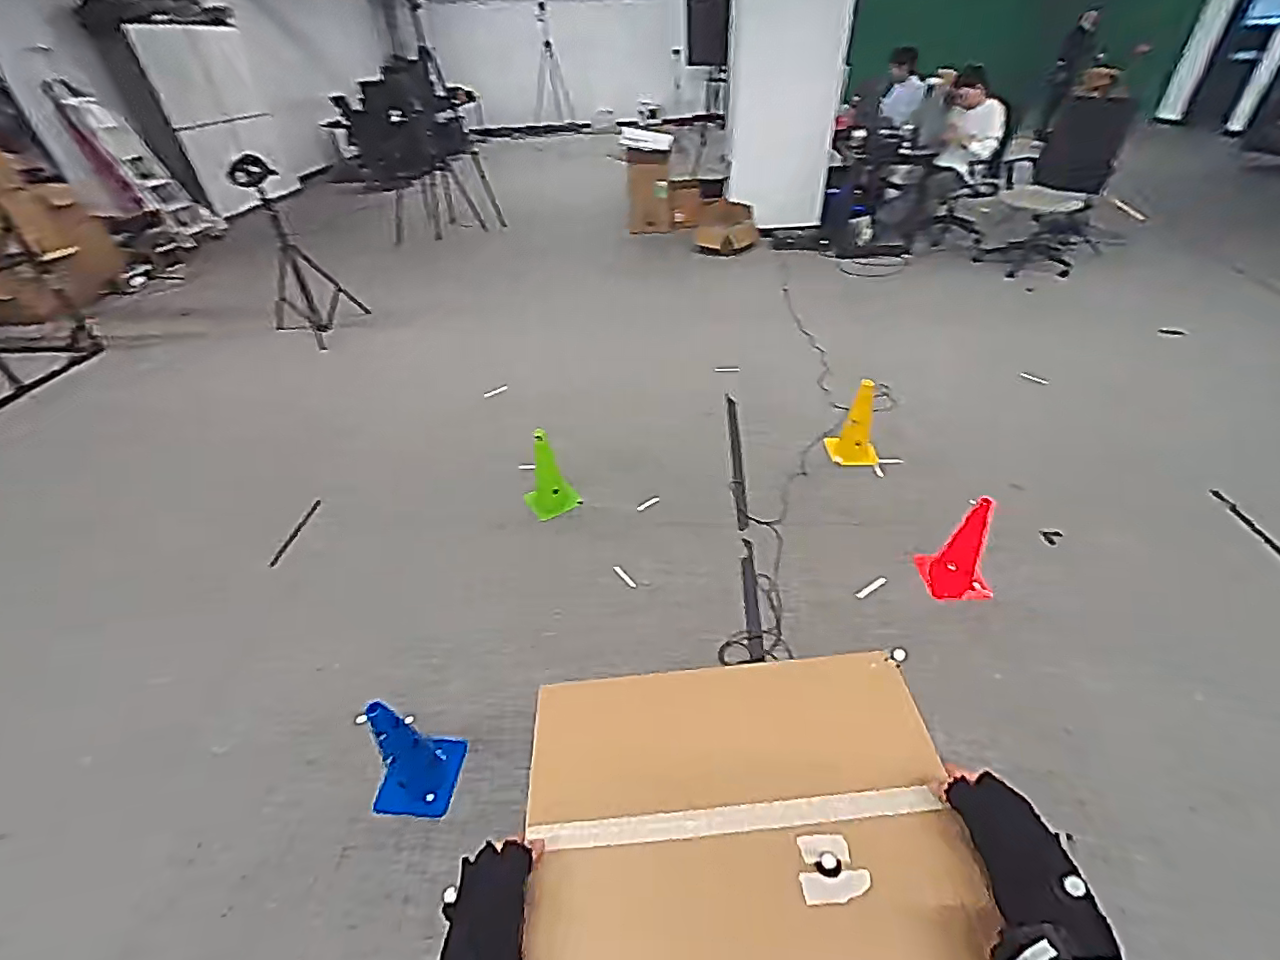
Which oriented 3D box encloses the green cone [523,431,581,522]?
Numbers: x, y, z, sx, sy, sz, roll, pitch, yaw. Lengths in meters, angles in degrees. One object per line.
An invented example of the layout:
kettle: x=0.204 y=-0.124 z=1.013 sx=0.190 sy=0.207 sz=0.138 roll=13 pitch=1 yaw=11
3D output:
green cone: x=-0.392 y=-0.044 z=2.201 sx=0.202 sy=0.368 sz=0.200 roll=-27 pitch=43 yaw=-23

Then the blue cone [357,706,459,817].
blue cone: x=-0.609 y=0.680 z=1.359 sx=0.192 sy=0.380 sz=0.193 roll=1 pitch=39 yaw=8

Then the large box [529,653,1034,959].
large box: x=0.110 y=0.431 z=0.602 sx=0.408 sy=0.320 sz=0.320 roll=-5 pitch=40 yaw=1

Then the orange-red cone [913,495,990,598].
orange-red cone: x=1.064 y=0.194 z=1.769 sx=0.198 sy=0.360 sz=0.199 roll=-2 pitch=38 yaw=2
